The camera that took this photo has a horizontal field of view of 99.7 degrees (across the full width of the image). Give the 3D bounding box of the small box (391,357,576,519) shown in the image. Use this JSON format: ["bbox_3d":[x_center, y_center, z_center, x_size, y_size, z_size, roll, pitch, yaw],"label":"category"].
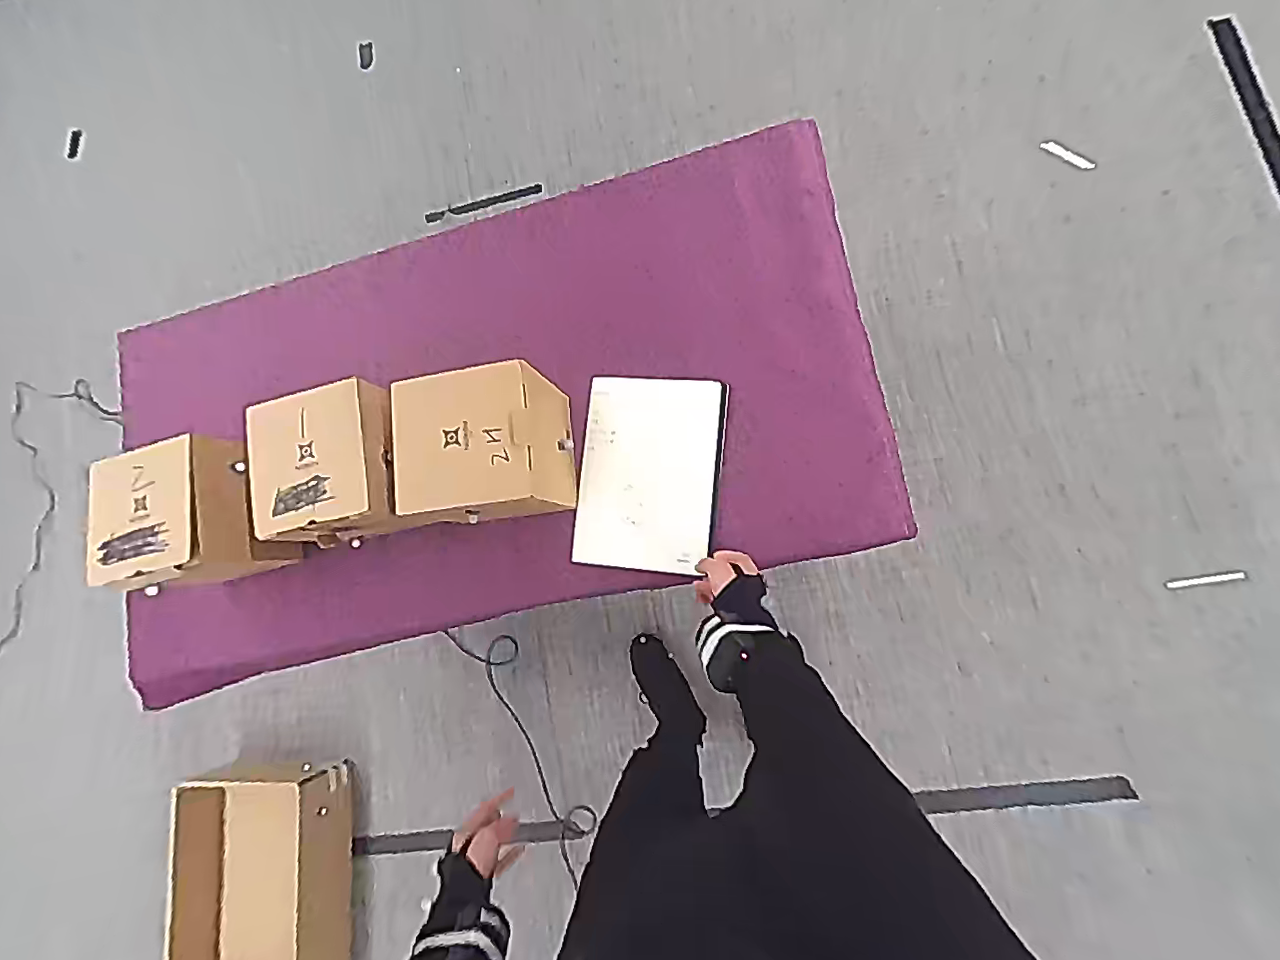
[{"bbox_3d":[-0.196,-0.042,0.708,0.179,0.176,0.168,-8,81,10],"label":"small box"}]
